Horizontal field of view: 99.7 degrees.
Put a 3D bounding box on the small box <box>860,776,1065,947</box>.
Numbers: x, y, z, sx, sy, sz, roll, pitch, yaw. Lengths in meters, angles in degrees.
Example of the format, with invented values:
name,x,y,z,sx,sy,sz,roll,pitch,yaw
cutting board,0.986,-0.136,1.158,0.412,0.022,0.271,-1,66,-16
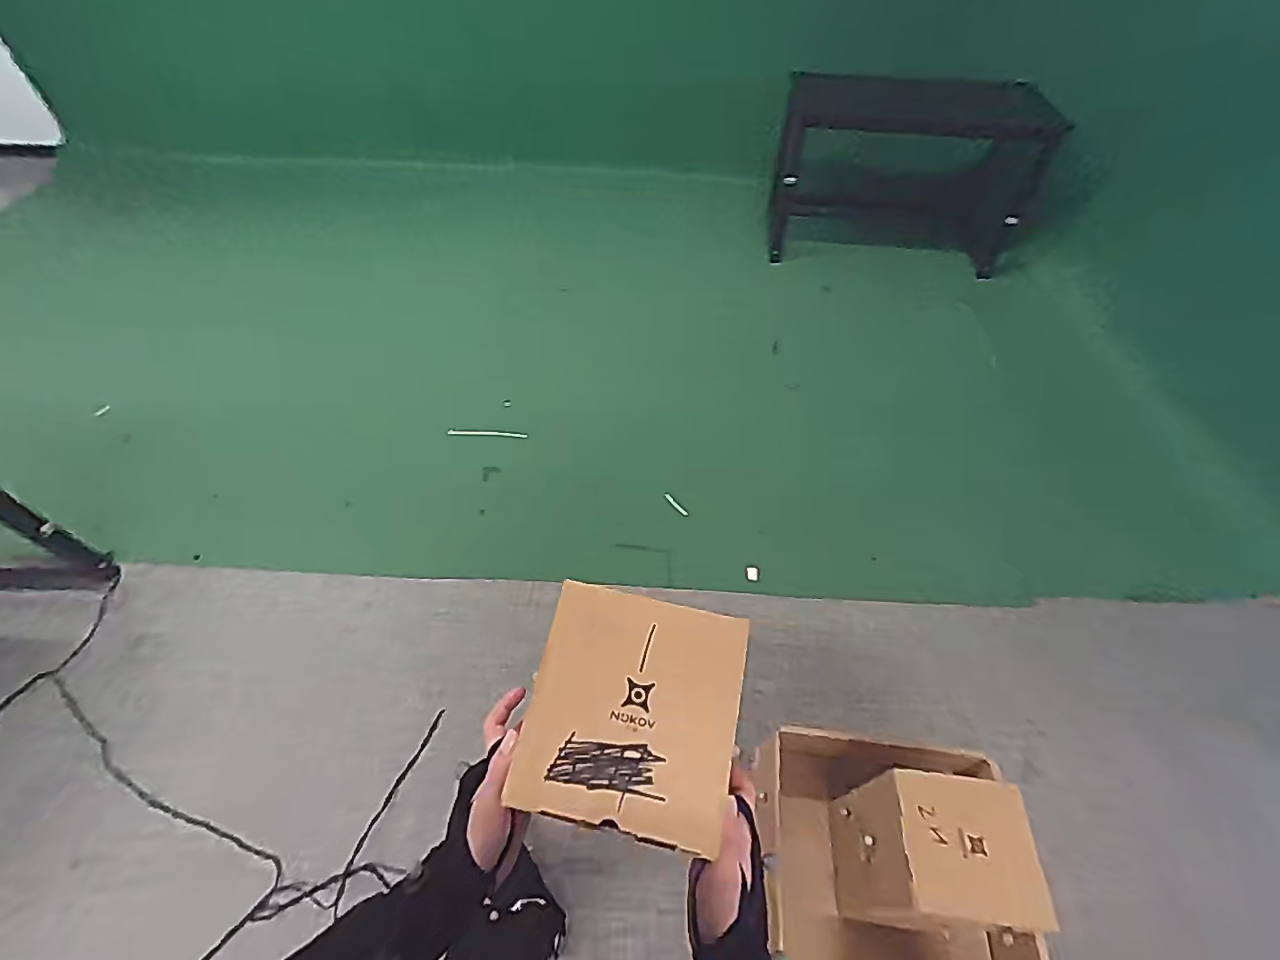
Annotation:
name,x,y,z,sx,sy,sz,roll,pitch,yaw
small box,0.435,0.538,0.766,0.179,0.176,0.168,6,51,4

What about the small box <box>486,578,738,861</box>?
name,x,y,z,sx,sy,sz,roll,pitch,yaw
small box,-0.017,0.210,0.492,0.168,0.176,0.179,12,64,4
